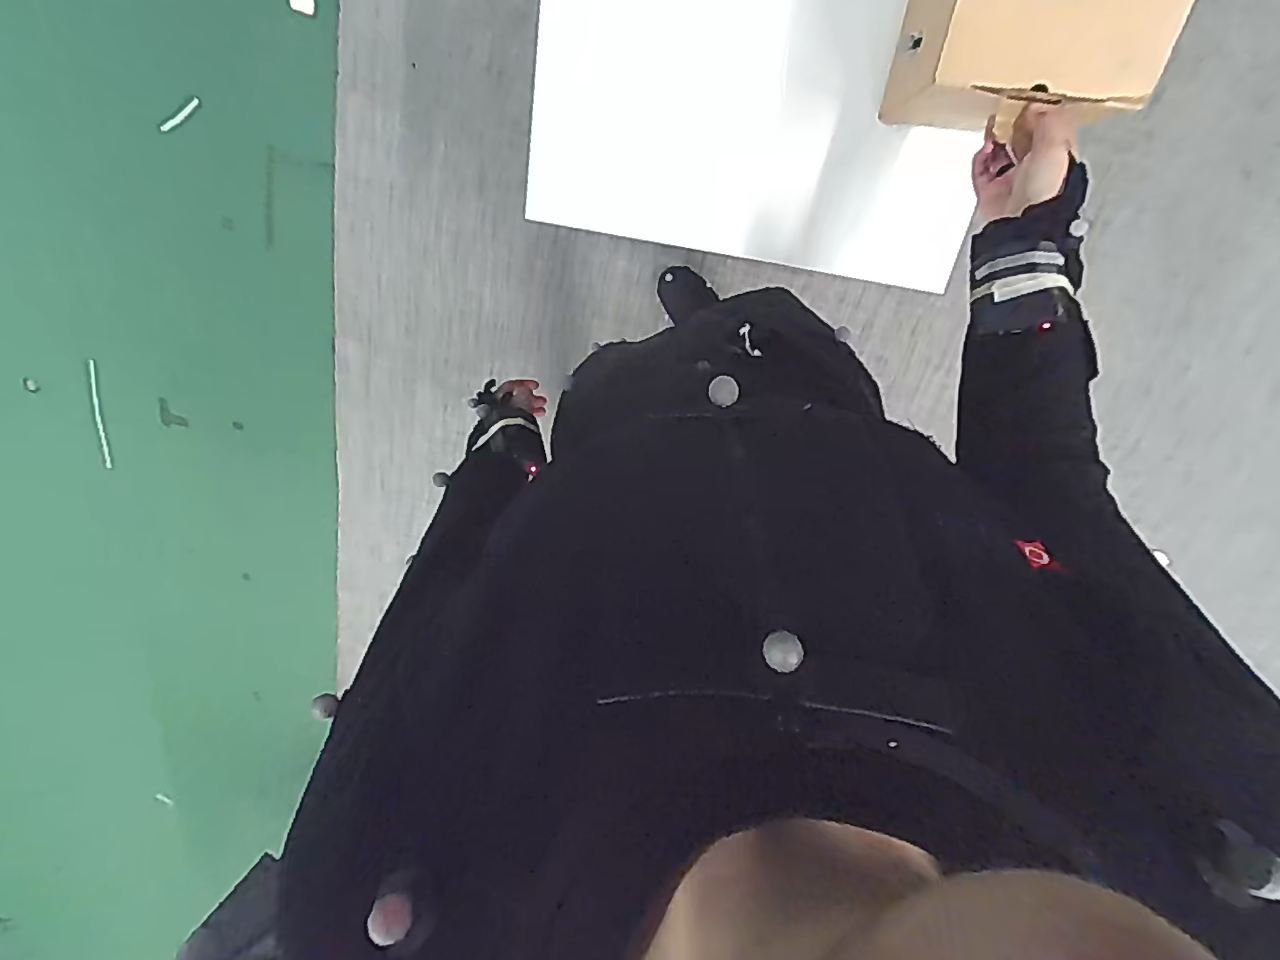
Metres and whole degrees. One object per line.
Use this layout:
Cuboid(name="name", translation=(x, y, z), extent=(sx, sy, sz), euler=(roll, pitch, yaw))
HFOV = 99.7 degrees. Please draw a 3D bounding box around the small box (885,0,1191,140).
Cuboid(name="small box", translation=(0.330, -0.408, 0.461), extent=(0.168, 0.176, 0.179), euler=(9, 115, 3))
